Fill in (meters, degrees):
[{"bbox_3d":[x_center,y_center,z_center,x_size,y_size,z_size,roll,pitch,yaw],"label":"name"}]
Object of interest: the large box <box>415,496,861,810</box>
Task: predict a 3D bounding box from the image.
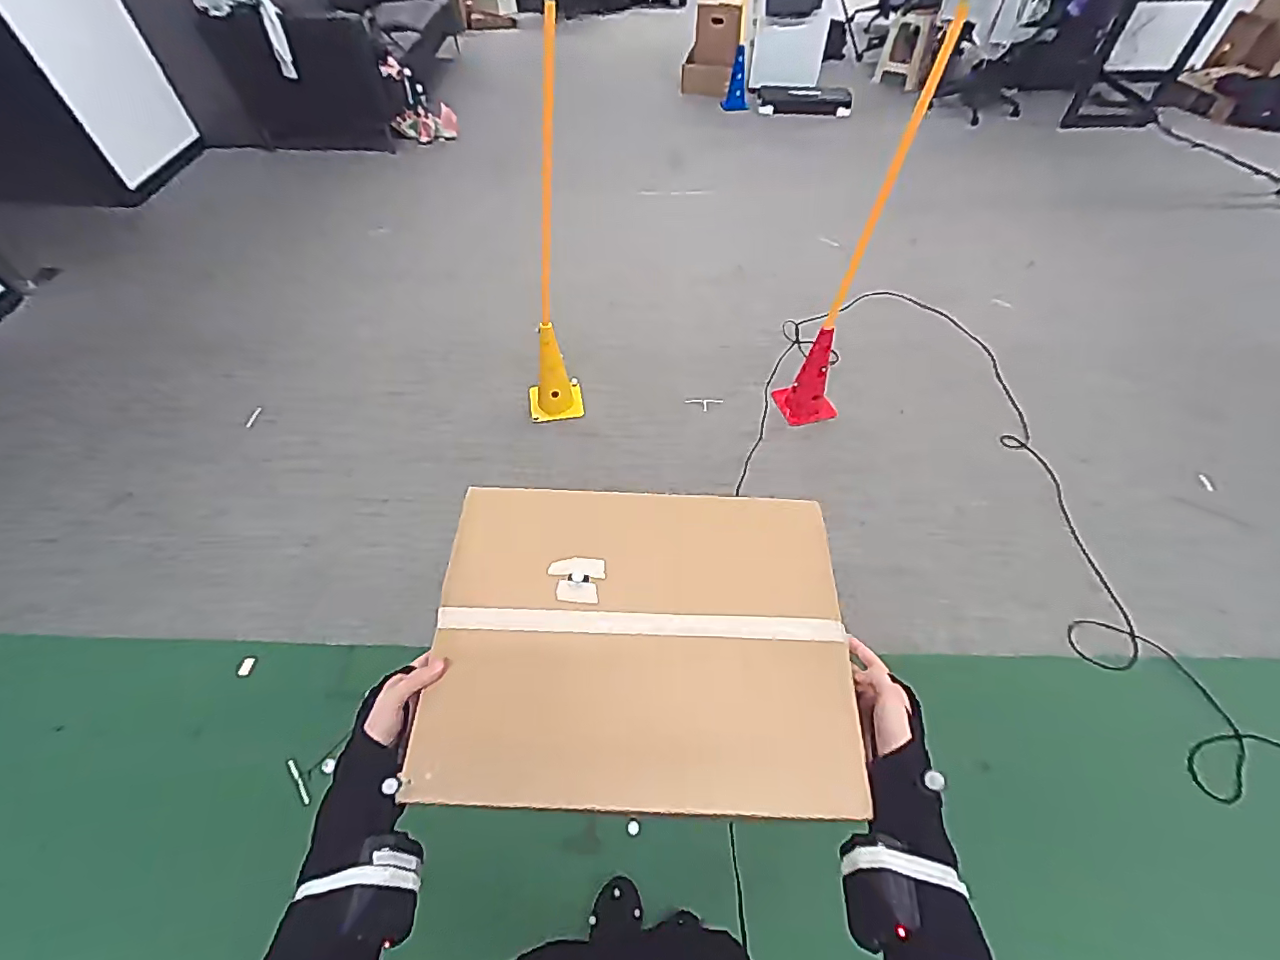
[{"bbox_3d":[0.002,0.230,0.681,0.408,0.320,0.320,2,57,1],"label":"large box"}]
